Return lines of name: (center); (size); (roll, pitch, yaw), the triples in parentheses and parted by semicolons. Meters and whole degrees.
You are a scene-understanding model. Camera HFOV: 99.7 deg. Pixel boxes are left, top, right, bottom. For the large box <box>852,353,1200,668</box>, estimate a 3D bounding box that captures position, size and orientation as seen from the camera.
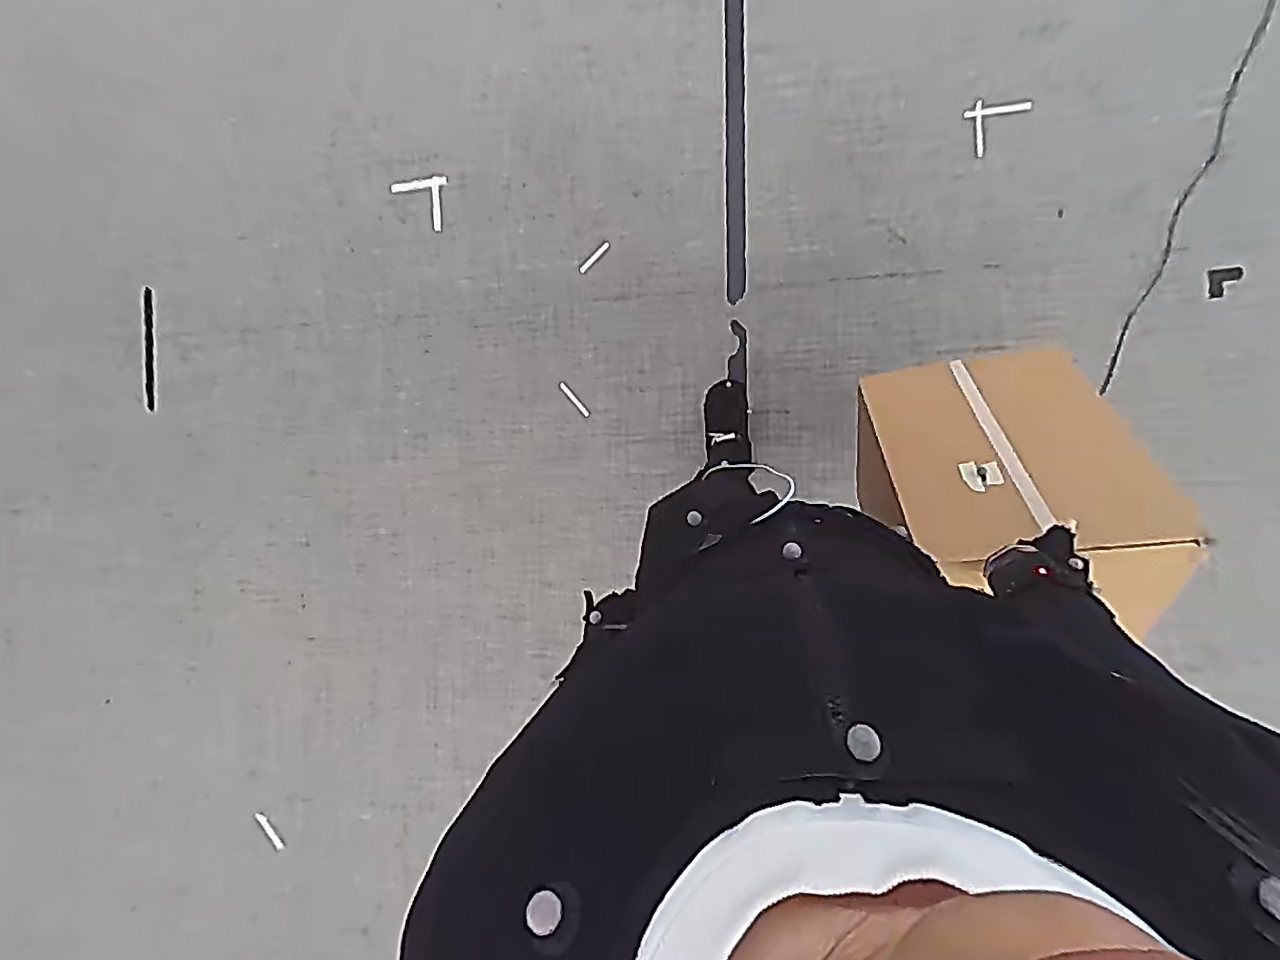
large box: (0.551, 0.052, 0.894); (0.320, 0.320, 0.408); (-9, 45, 15)
